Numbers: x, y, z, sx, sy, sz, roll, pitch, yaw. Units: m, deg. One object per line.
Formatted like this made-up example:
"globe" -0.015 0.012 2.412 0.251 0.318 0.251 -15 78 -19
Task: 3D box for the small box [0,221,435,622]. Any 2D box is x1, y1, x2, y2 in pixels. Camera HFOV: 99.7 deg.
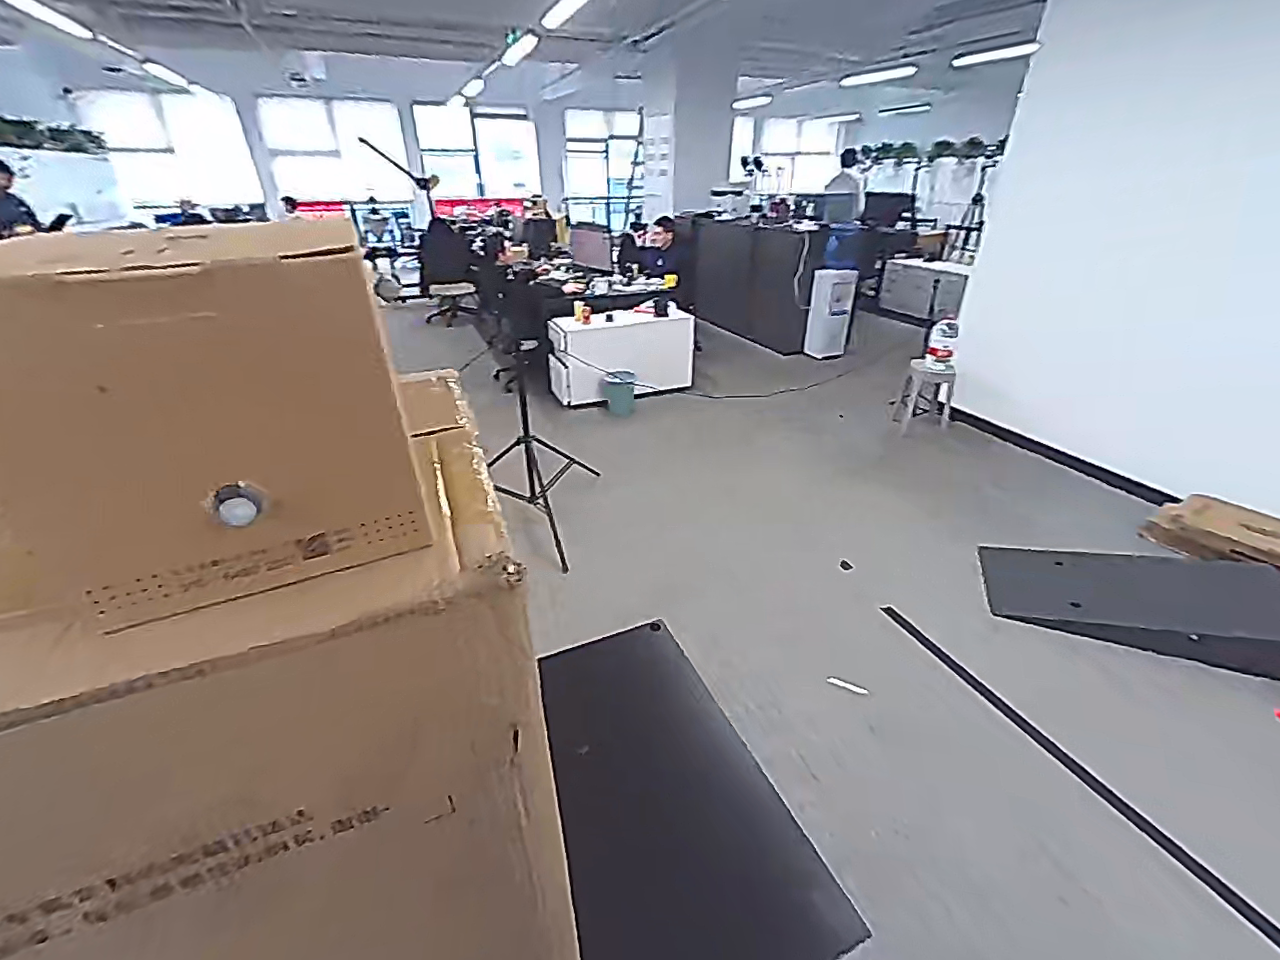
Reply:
"small box" -0.231 -0.051 0.320 0.168 0.176 0.179 -15 34 -21
